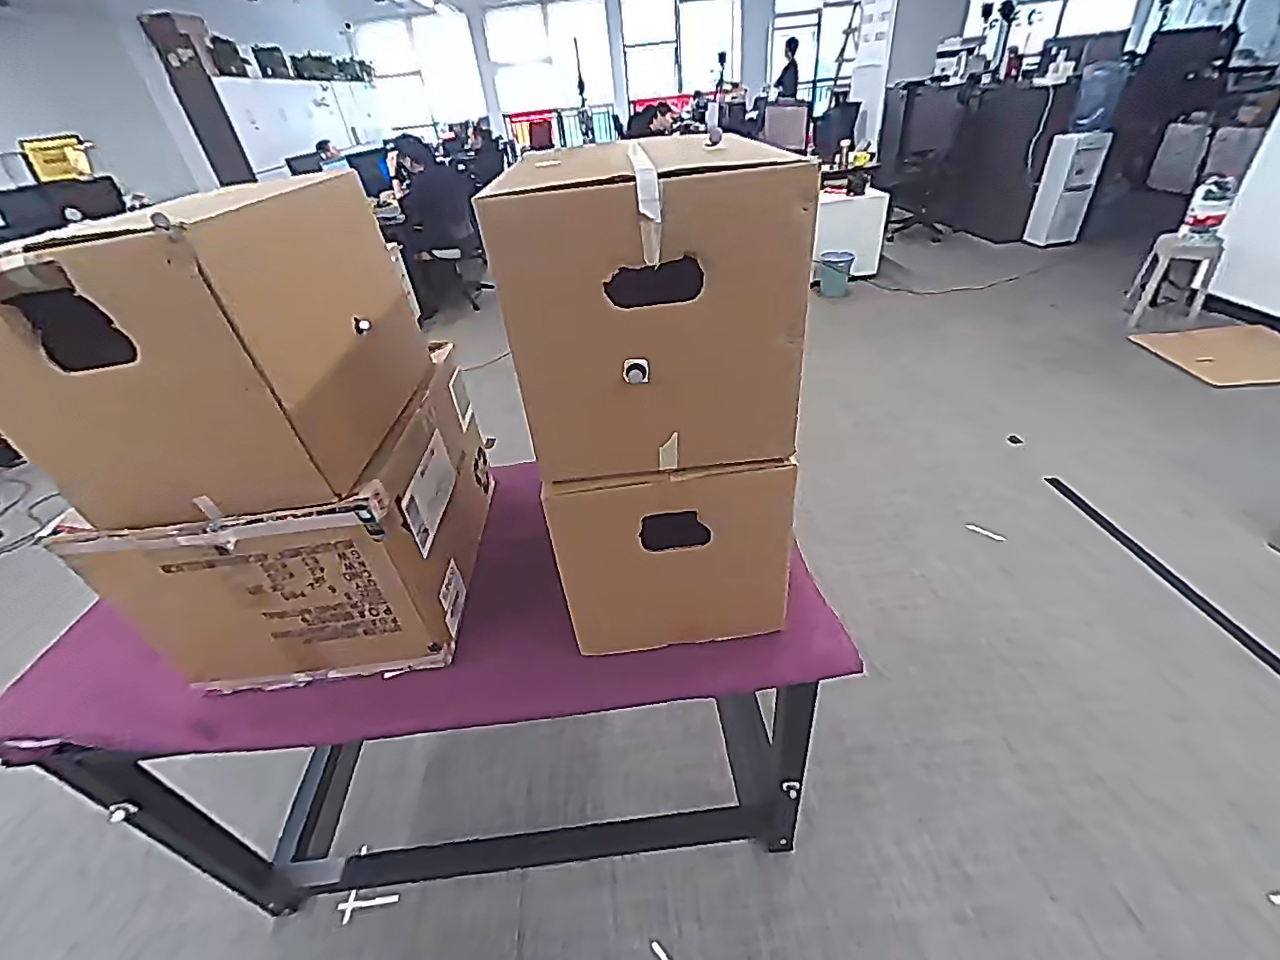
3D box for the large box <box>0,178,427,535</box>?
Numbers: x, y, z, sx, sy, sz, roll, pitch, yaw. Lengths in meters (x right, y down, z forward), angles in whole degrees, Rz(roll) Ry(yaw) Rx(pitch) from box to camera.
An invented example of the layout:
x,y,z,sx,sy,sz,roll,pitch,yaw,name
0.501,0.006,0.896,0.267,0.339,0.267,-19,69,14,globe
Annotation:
x,y,z,sx,sy,sz,roll,pitch,yaw,name
-0.532,-0.186,0.731,0.320,0.320,0.408,-10,36,3,large box
